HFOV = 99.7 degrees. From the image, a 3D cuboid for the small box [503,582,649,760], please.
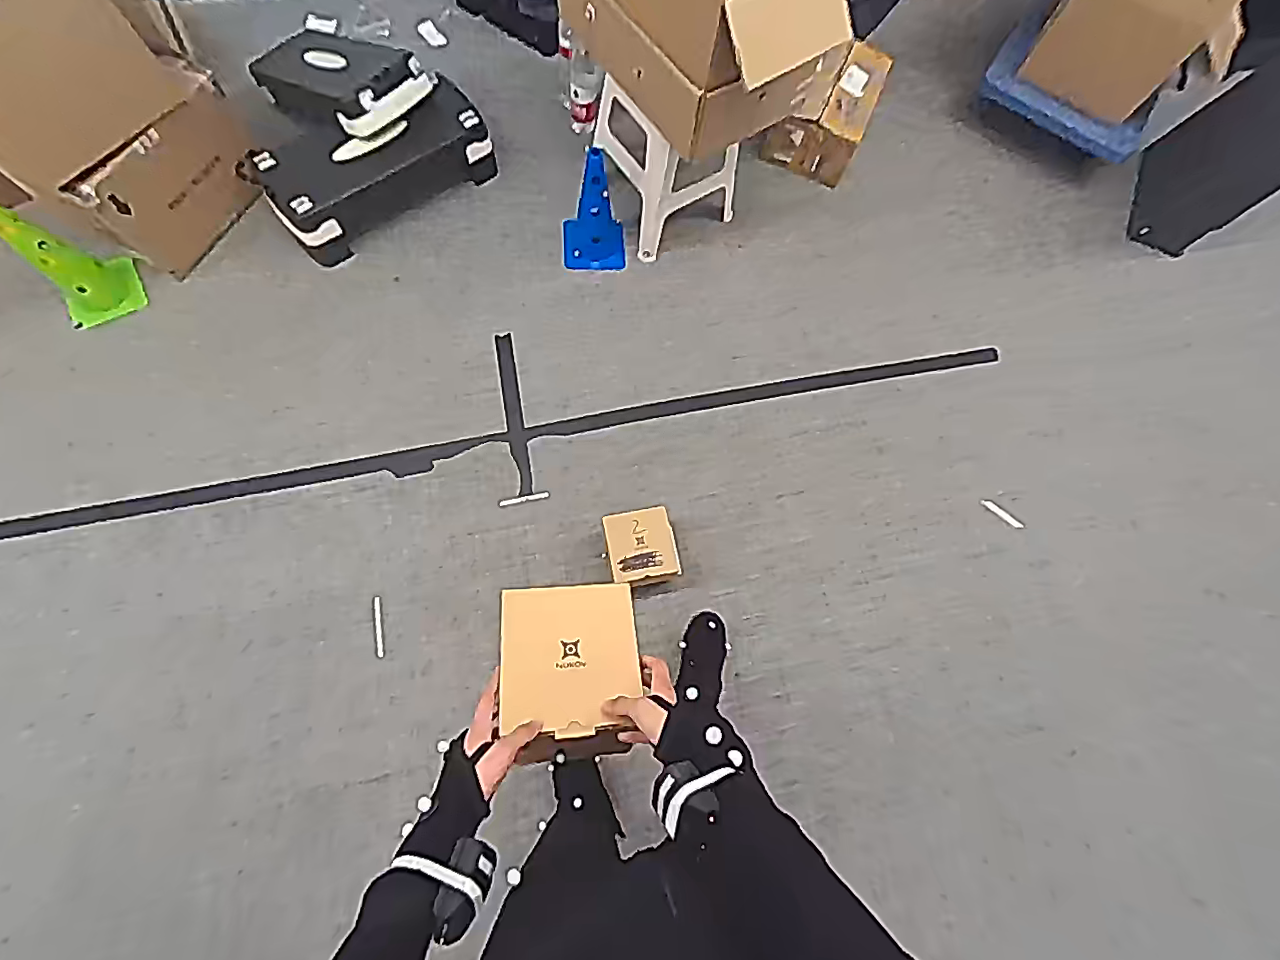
[{"bbox_3d":[-0.092,0.252,0.712,0.168,0.176,0.179,-1,55,-11],"label":"small box"}]
